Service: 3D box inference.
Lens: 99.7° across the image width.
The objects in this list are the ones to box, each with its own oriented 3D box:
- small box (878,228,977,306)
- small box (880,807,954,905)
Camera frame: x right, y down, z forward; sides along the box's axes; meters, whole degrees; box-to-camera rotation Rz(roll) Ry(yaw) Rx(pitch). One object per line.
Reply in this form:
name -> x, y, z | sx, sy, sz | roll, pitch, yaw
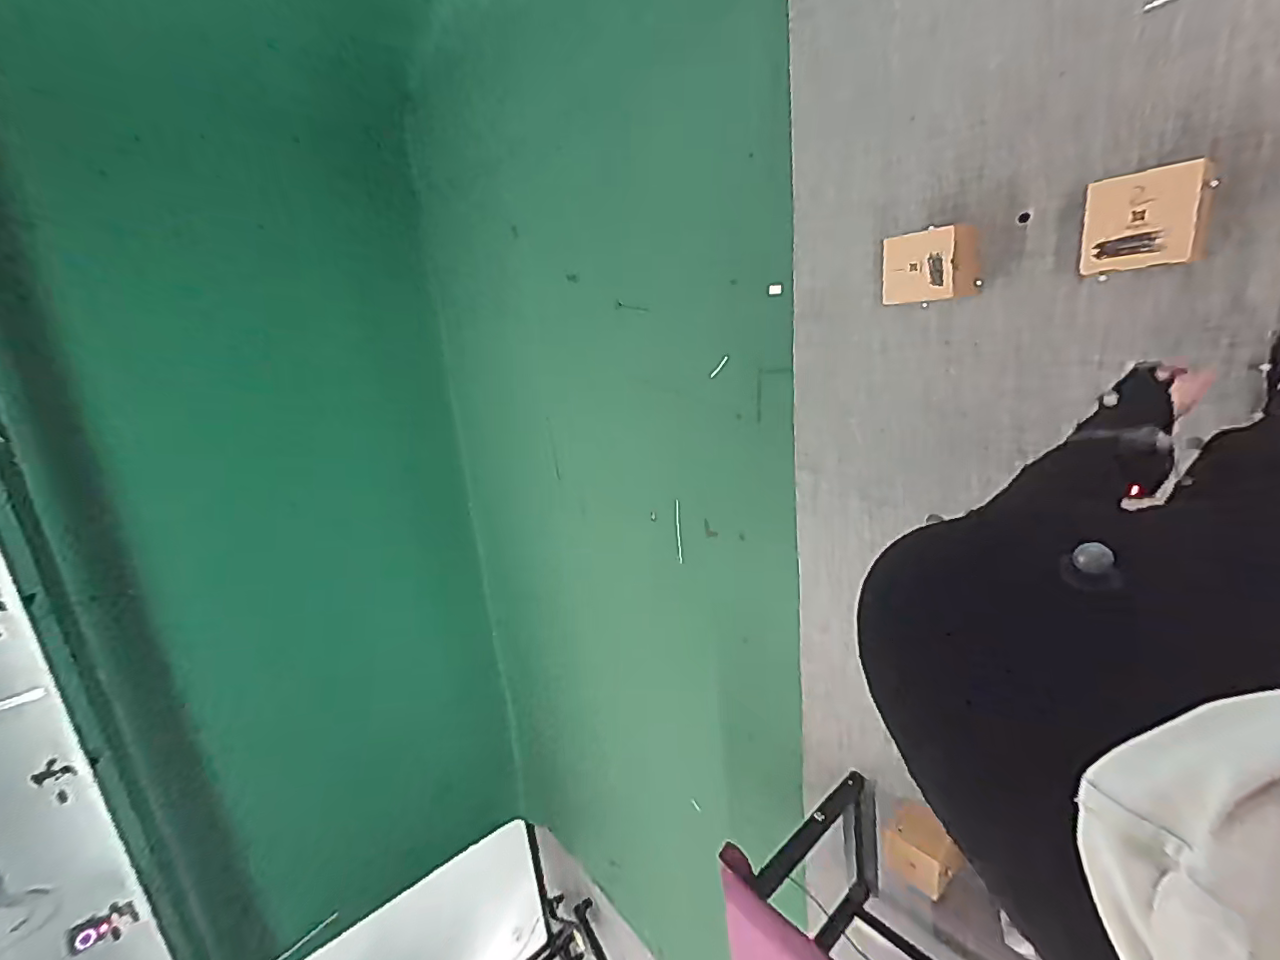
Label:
small box -> 0.739, -0.542, 1.389 | 0.179, 0.176, 0.168 | 12, 112, 49
small box -> 0.932, 1.251, 1.816 | 0.179, 0.176, 0.168 | 11, 112, 49
